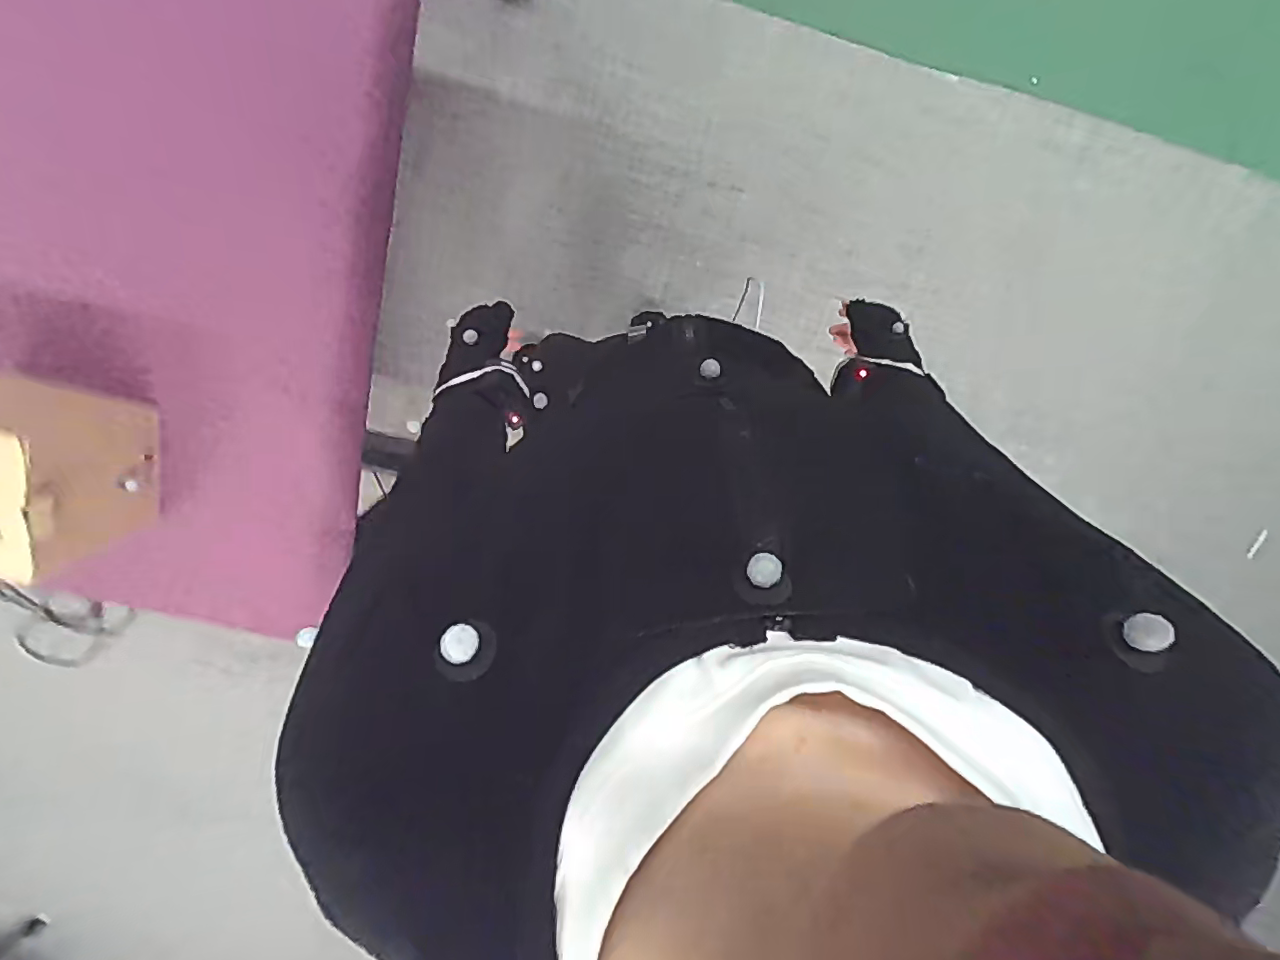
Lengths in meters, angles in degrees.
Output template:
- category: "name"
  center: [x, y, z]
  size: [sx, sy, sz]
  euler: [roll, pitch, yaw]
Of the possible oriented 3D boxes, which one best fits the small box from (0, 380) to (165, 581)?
- category: "small box"
  center: [-0.707, -0.011, 0.620]
  size: [0.179, 0.176, 0.168]
  euler: [15, 106, -7]
